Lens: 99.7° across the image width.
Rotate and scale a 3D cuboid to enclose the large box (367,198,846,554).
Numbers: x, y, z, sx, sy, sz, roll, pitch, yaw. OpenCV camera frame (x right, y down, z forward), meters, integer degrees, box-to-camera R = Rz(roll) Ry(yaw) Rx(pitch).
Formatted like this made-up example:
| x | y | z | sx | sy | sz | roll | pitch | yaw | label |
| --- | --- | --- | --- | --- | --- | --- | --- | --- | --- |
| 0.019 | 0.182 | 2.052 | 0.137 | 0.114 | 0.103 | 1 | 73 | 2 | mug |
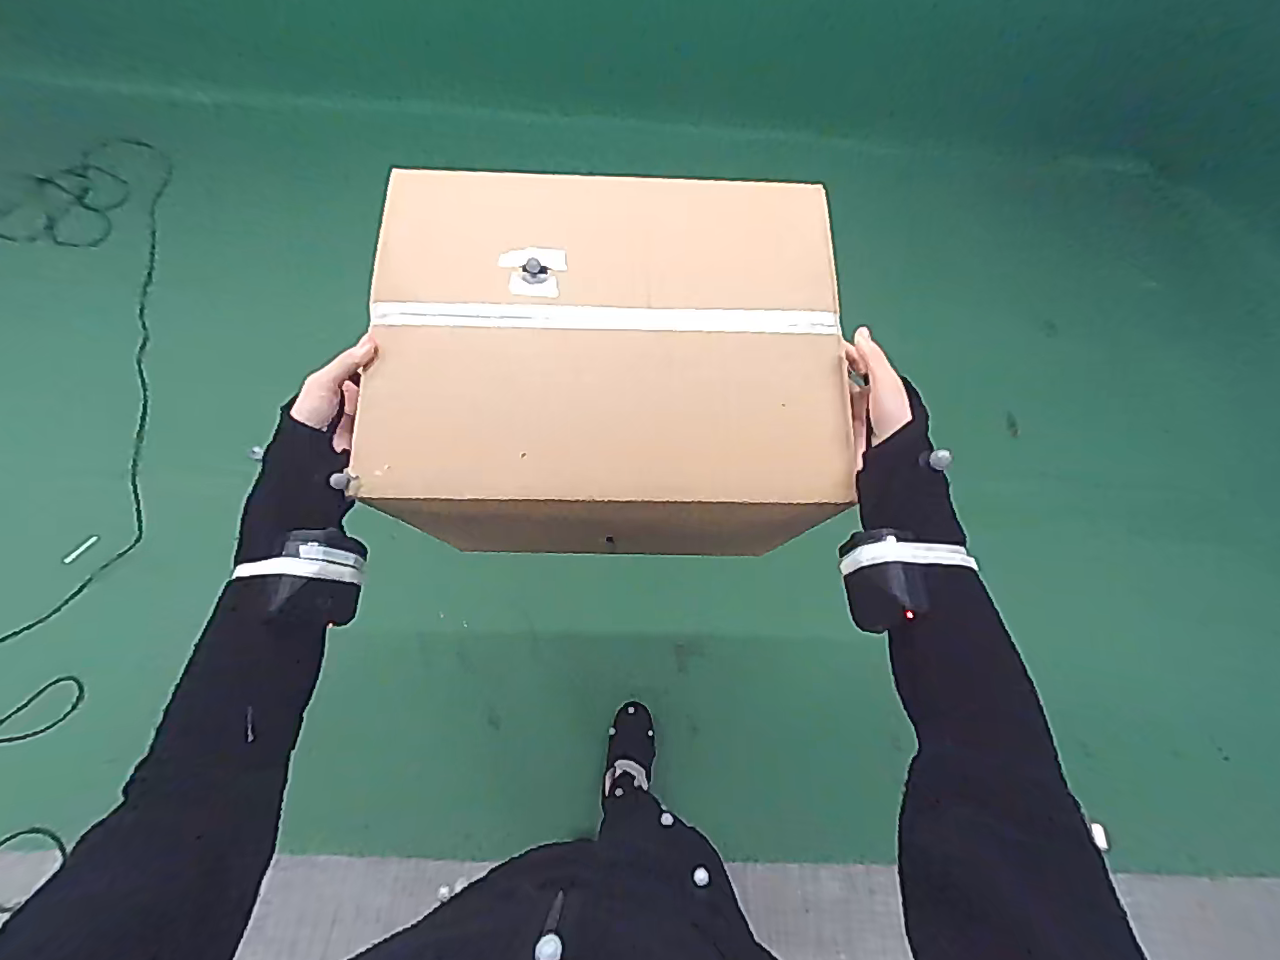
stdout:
| x | y | z | sx | sy | sz | roll | pitch | yaw | label |
| --- | --- | --- | --- | --- | --- | --- | --- | --- | --- |
| -0.029 | -0.086 | 0.626 | 0.408 | 0.320 | 0.320 | 0 | 73 | -1 | large box |
